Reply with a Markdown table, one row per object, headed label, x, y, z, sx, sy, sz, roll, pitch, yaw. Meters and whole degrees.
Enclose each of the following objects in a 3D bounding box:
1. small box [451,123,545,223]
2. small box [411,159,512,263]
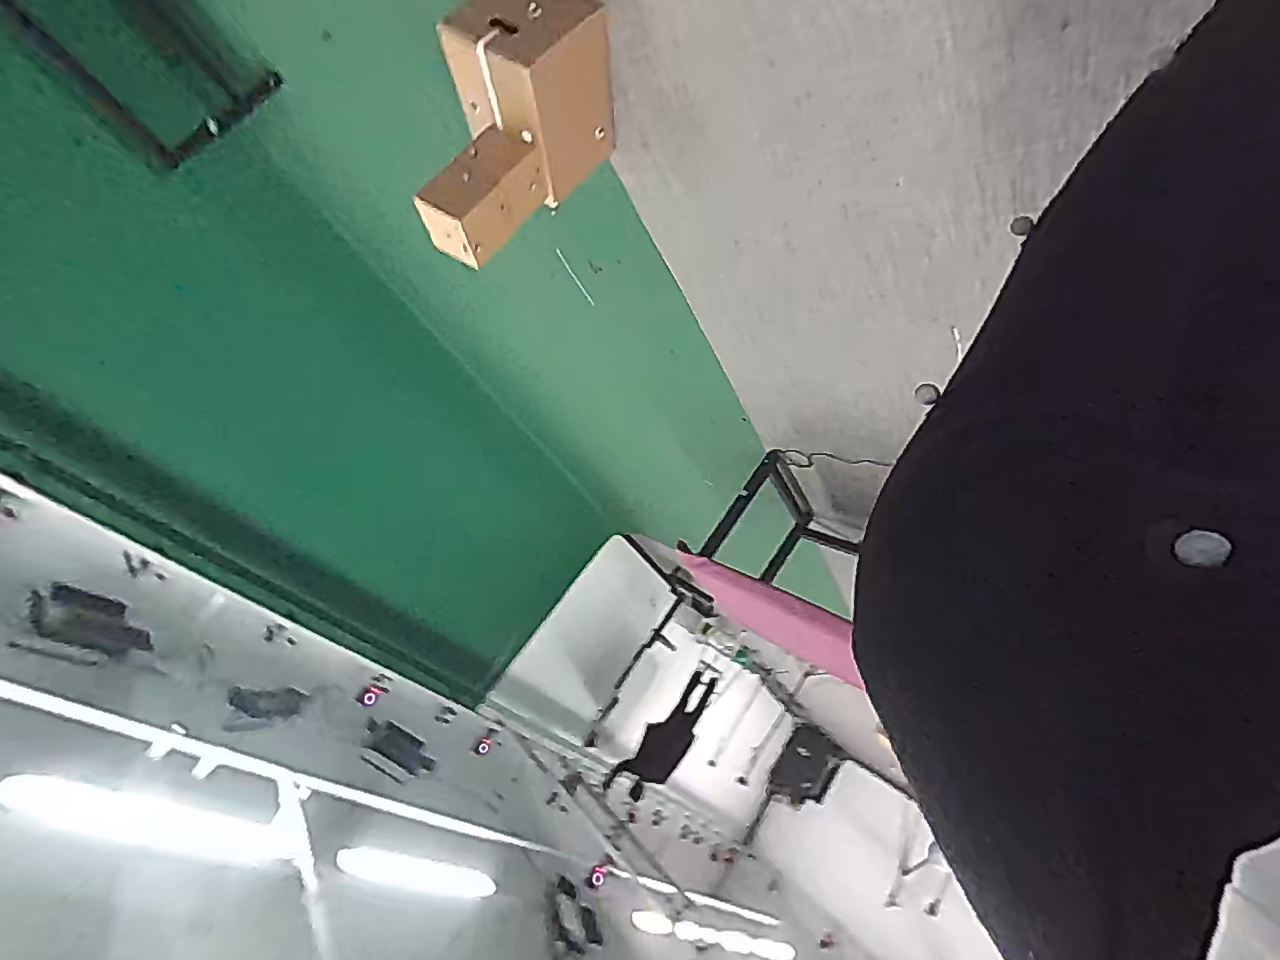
| label | x | y | z | sx | sy | sz | roll | pitch | yaw |
| --- | --- | --- | --- | --- | --- | --- | --- | --- | --- |
| small box | -0.401 | -0.879 | 1.550 | 0.179 | 0.176 | 0.168 | 33 | 163 | 13 |
| small box | -0.487 | -0.749 | 1.500 | 0.179 | 0.176 | 0.168 | 33 | 163 | 14 |
